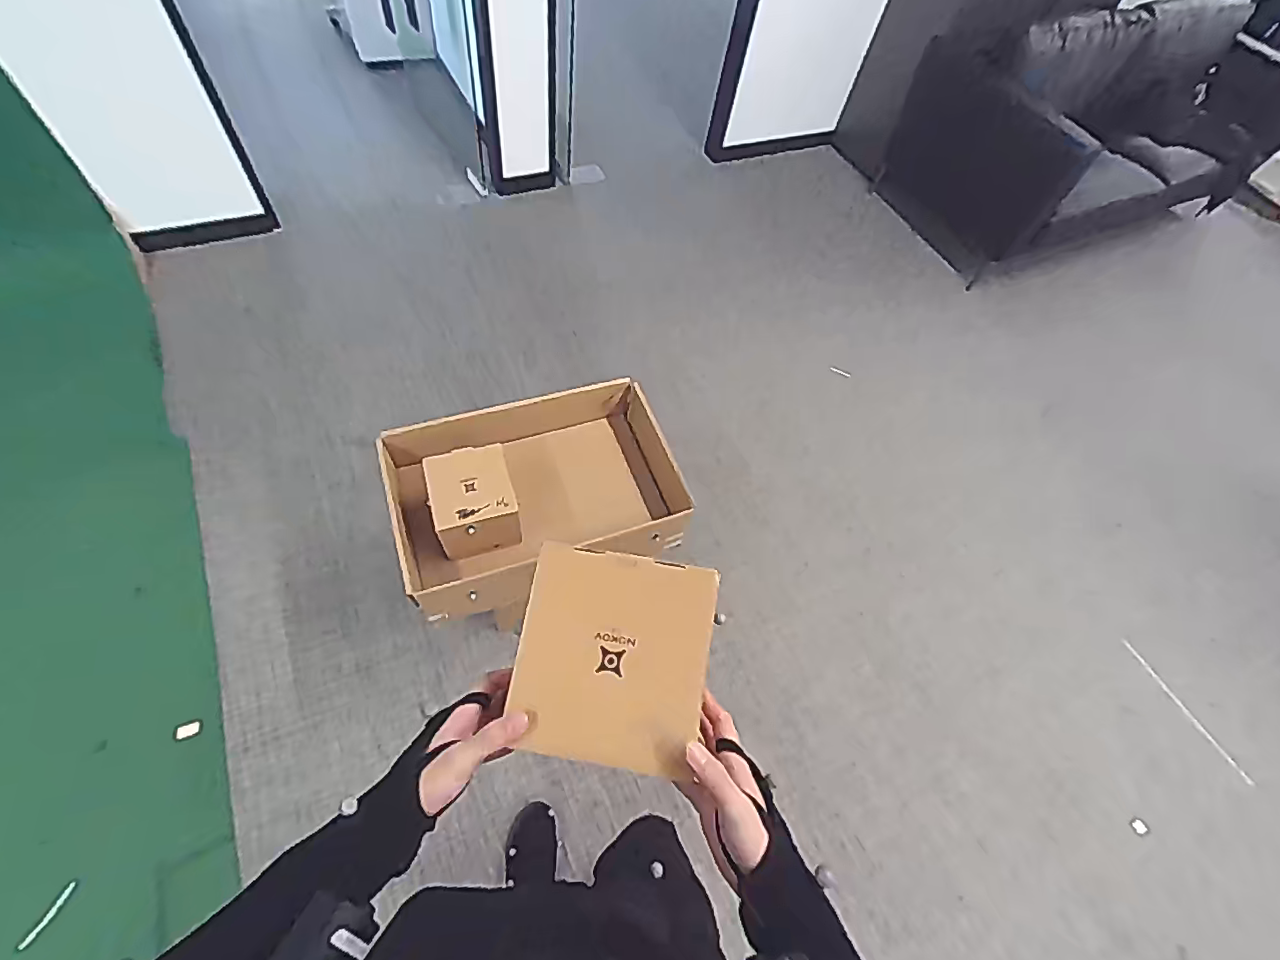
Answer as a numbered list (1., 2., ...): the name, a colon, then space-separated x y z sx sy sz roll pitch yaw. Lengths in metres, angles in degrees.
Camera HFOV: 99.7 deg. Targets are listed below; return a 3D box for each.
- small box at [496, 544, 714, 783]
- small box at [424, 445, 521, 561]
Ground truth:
1. small box: -0.025 0.175 0.546 0.168 0.176 0.179 9 74 4
2. small box: -0.361 0.053 1.182 0.168 0.176 0.179 -14 63 -16
